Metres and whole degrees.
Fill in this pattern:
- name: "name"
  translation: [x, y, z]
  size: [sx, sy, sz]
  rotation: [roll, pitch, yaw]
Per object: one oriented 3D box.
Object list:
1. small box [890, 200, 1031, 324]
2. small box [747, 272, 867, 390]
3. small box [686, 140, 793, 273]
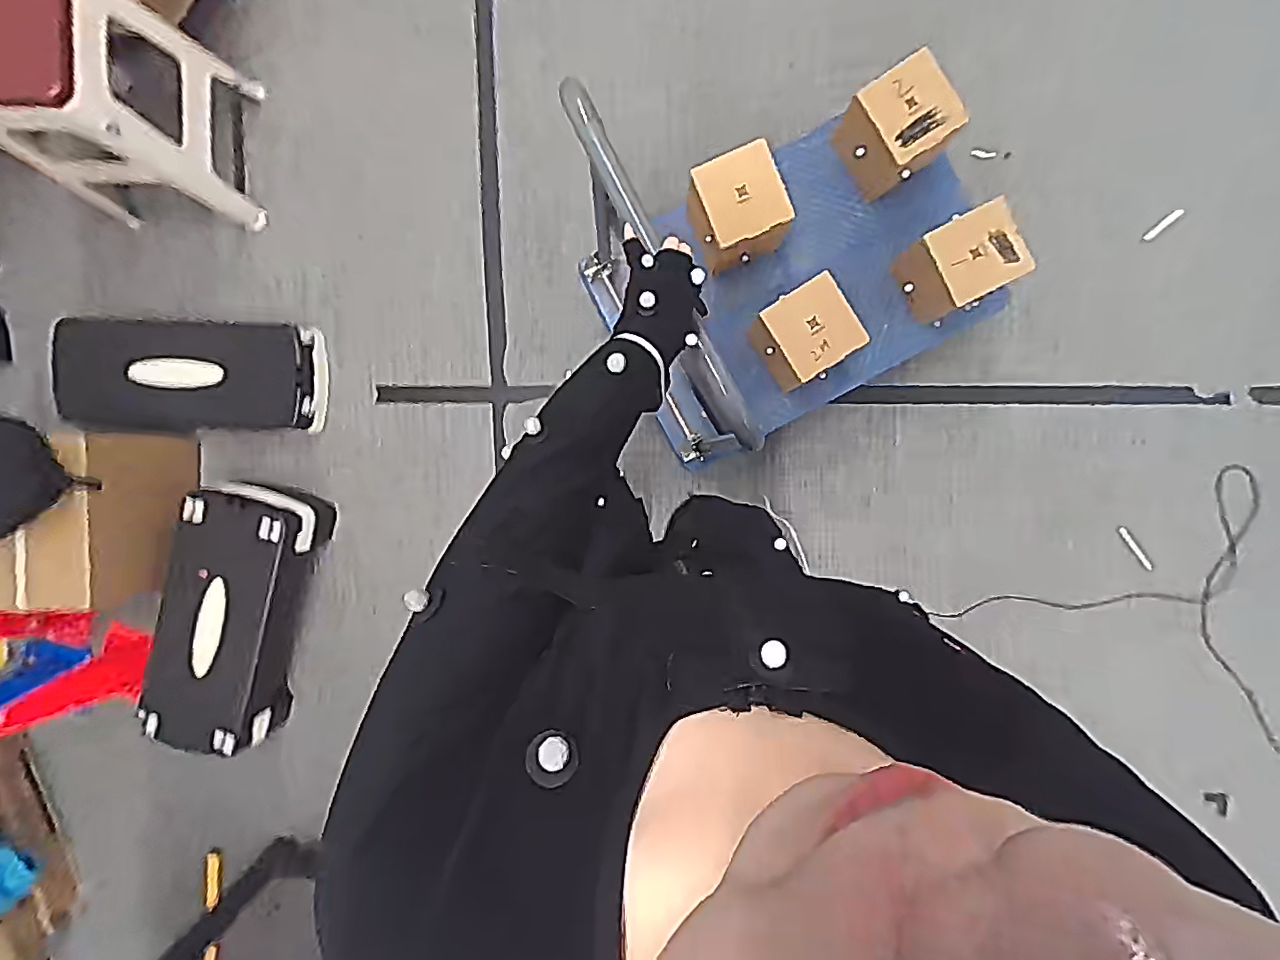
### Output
- name: "small box"
  translation: [0.687, -0.465, 1.179]
  size: [0.179, 0.176, 0.168]
  rotation: [-27, 92, 3]
- name: "small box"
  translation: [0.357, -0.317, 1.193]
  size: [0.168, 0.176, 0.179]
  rotation: [-32, 92, 3]
- name: "small box"
  translation: [0.208, -0.587, 1.184]
  size: [0.168, 0.176, 0.179]
  rotation: [-23, 94, 2]
